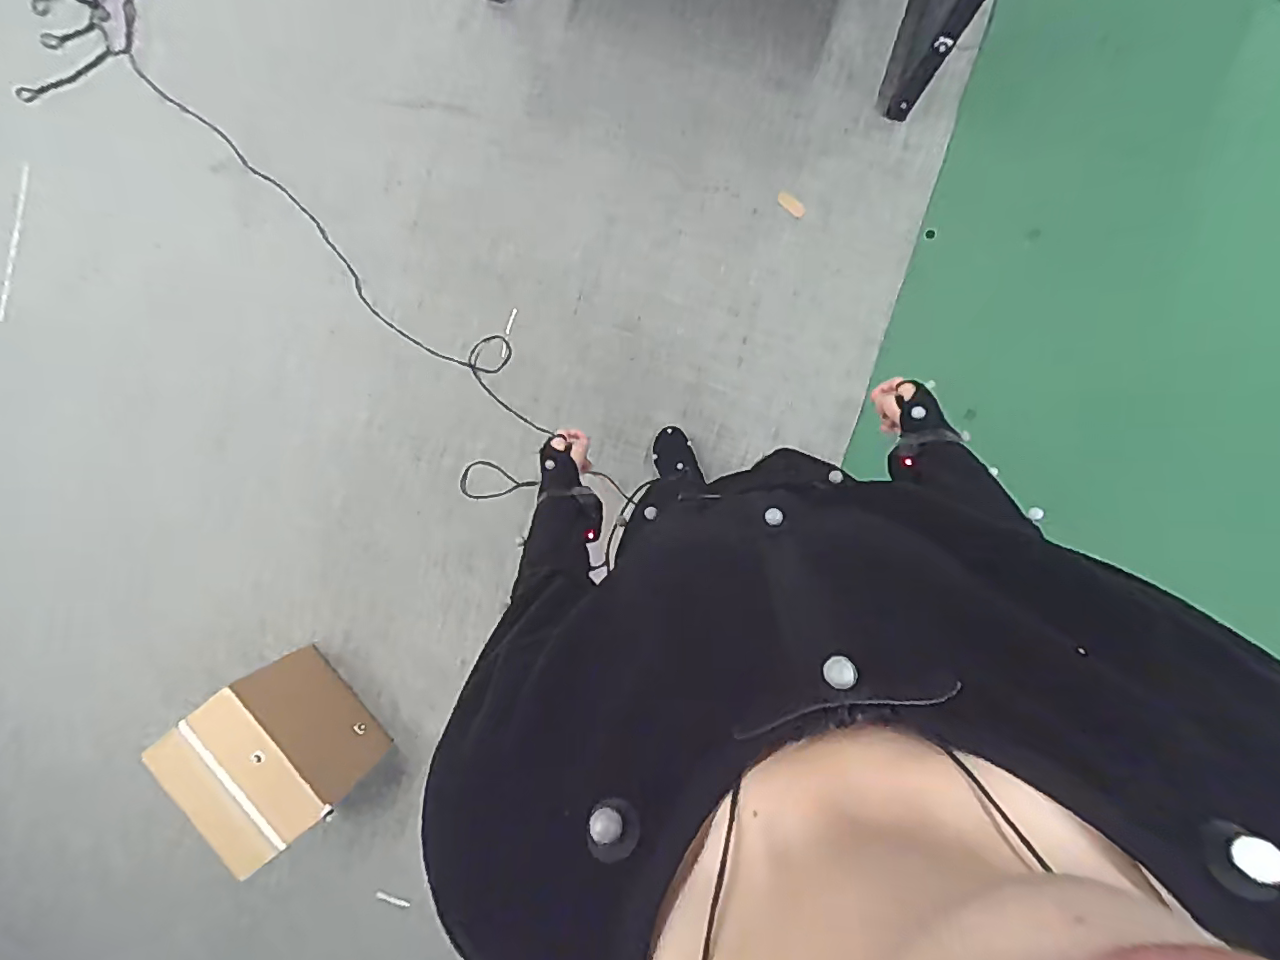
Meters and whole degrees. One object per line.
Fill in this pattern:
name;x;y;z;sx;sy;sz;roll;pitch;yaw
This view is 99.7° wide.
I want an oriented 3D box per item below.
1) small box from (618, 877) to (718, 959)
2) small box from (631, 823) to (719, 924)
small box;0.045;0.884;0.998;0.168;0.176;0.179;8;92;4
small box;0.068;0.874;1.160;0.179;0.176;0.168;6;92;5
